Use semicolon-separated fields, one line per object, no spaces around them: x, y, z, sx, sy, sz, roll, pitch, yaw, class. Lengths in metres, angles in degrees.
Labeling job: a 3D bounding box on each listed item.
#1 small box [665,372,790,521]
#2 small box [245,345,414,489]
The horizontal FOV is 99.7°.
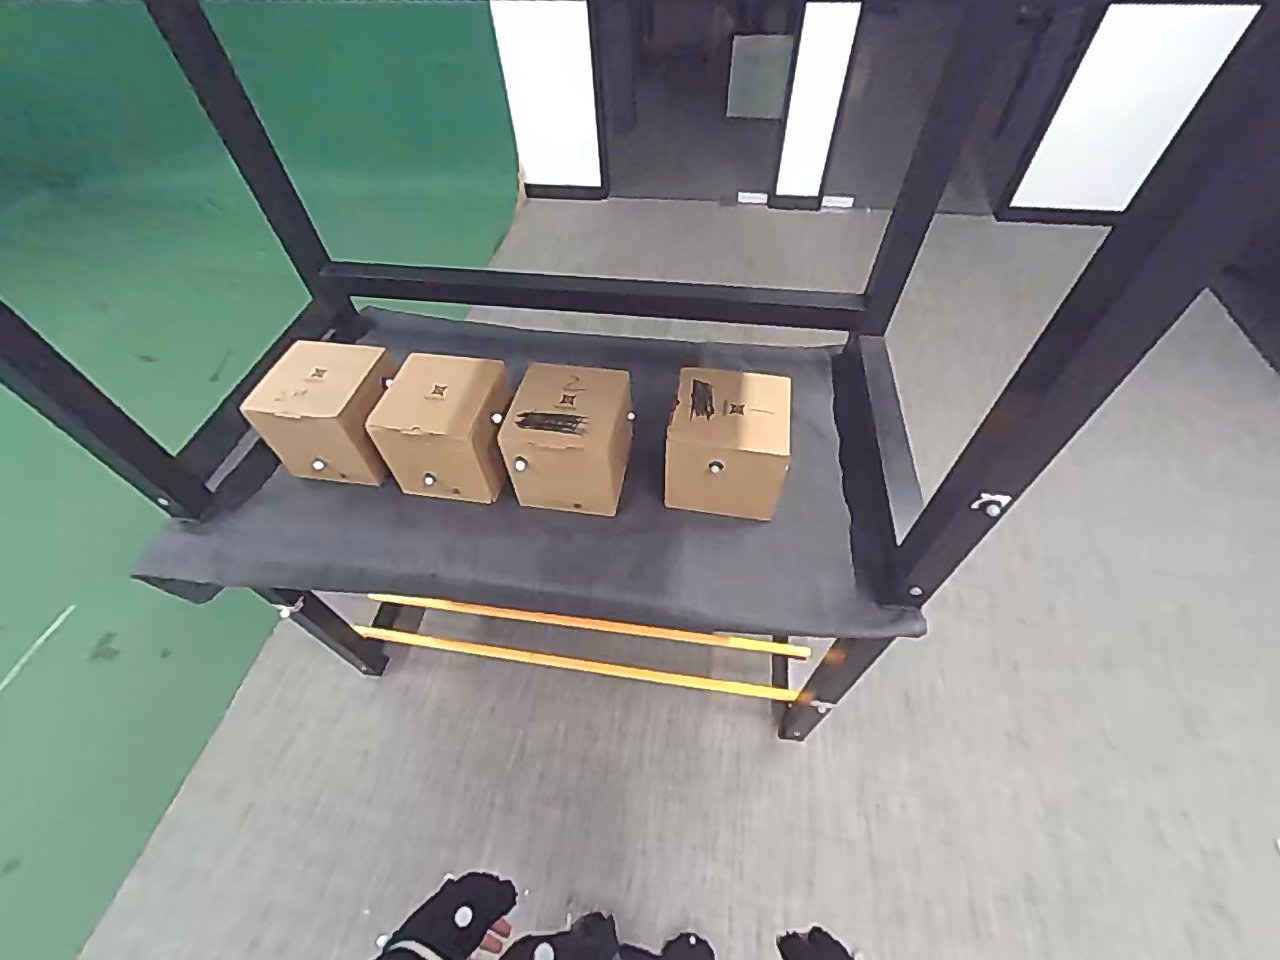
0.137;-0.051;0.877;0.179;0.176;0.168;9;53;7;small box
-0.519;-0.110;0.942;0.168;0.176;0.179;6;52;7;small box
